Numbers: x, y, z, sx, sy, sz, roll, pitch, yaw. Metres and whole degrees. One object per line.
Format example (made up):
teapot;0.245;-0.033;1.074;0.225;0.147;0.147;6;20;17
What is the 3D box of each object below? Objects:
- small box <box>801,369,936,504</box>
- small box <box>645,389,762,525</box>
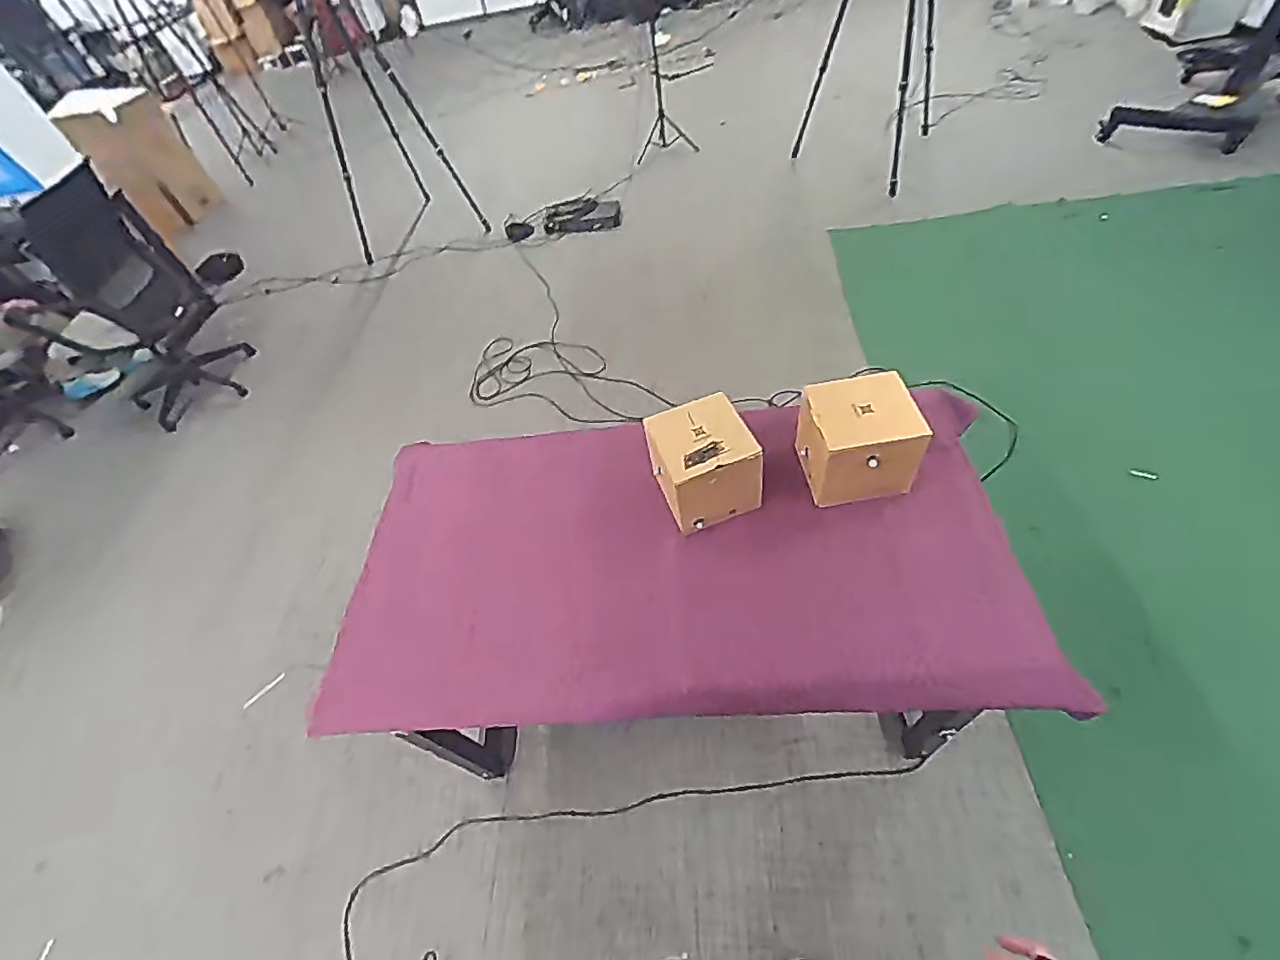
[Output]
small box;0.409;-0.076;1.003;0.179;0.176;0.168;-10;52;5
small box;0.123;-0.035;1.028;0.168;0.176;0.179;-20;51;-4
